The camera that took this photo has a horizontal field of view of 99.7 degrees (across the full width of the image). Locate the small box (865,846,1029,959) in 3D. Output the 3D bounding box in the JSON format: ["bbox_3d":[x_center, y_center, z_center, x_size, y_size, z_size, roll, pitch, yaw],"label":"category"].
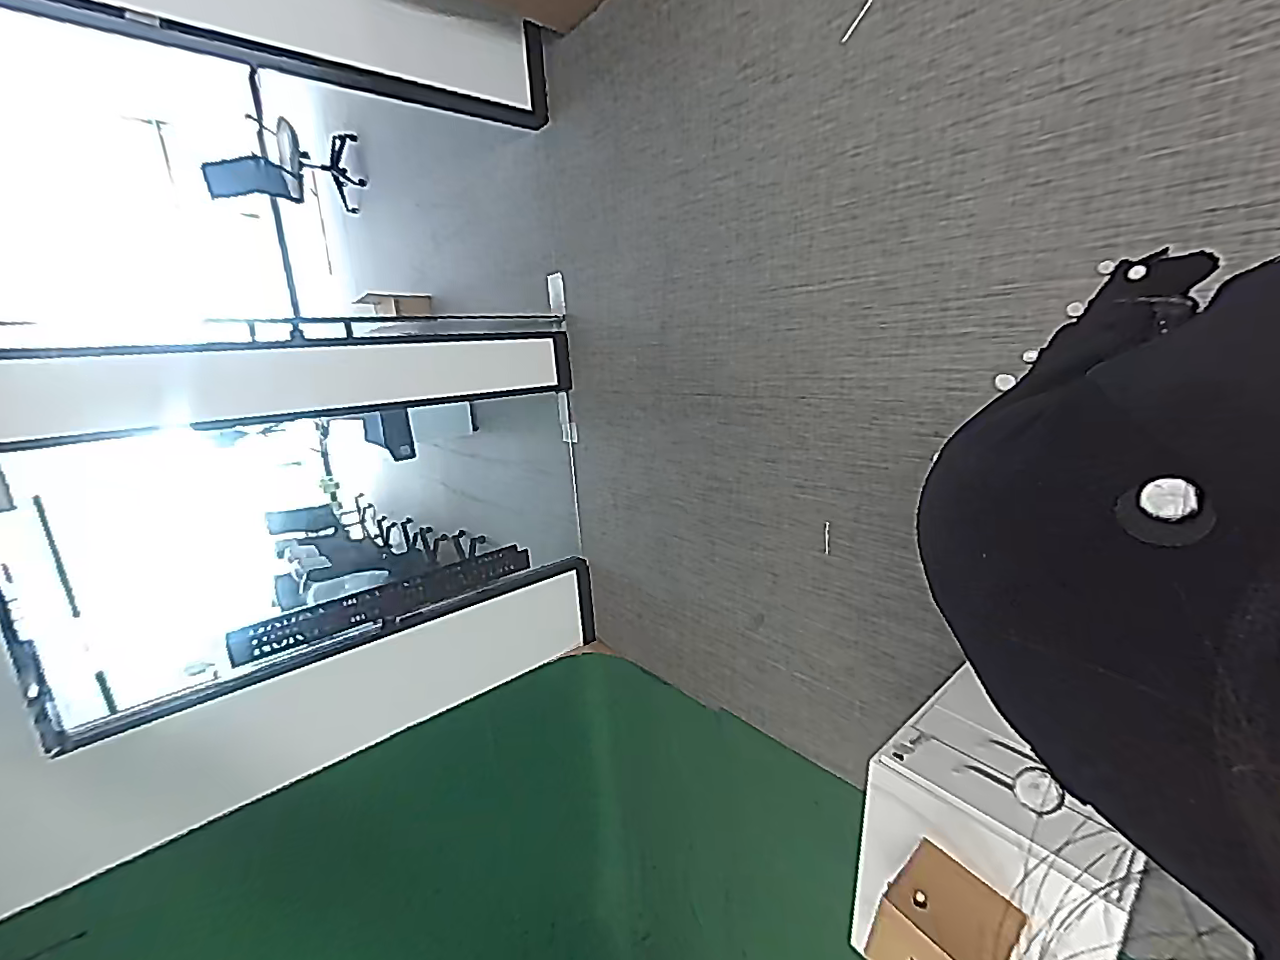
[{"bbox_3d":[0.528,0.783,0.936,0.179,0.176,0.168,26,121,45],"label":"small box"}]
